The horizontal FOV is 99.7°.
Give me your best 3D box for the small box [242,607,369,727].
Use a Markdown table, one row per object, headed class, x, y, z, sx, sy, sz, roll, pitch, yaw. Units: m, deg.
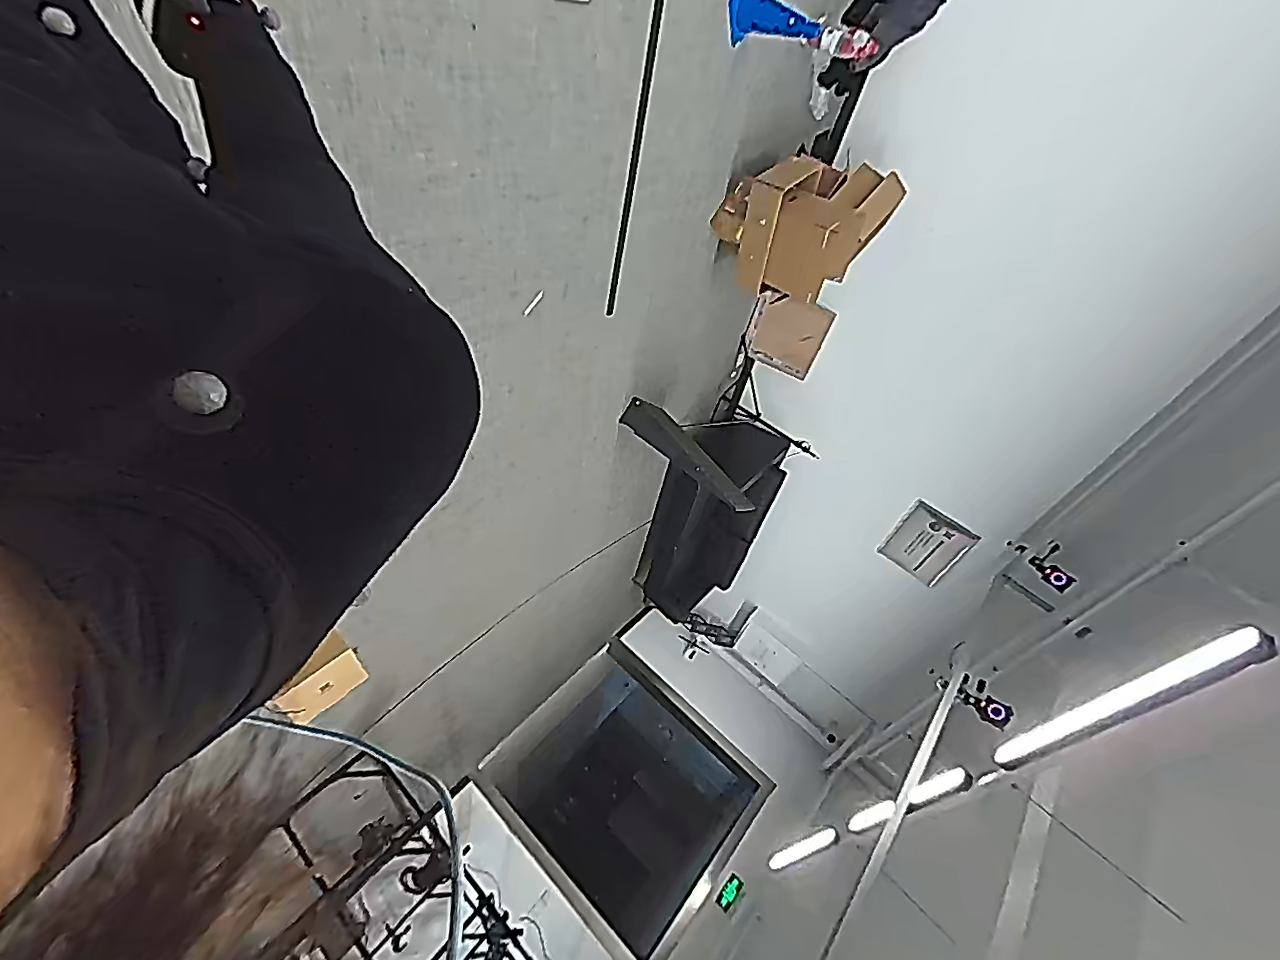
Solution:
| class | x | y | z | sx | sy | sz | roll | pitch | yaw |
| --- | --- | --- | --- | --- | --- | --- | --- | --- | --- |
| small box | -0.756 | 0.416 | 1.229 | 0.168 | 0.176 | 0.179 | -38 | 155 | -34 |
